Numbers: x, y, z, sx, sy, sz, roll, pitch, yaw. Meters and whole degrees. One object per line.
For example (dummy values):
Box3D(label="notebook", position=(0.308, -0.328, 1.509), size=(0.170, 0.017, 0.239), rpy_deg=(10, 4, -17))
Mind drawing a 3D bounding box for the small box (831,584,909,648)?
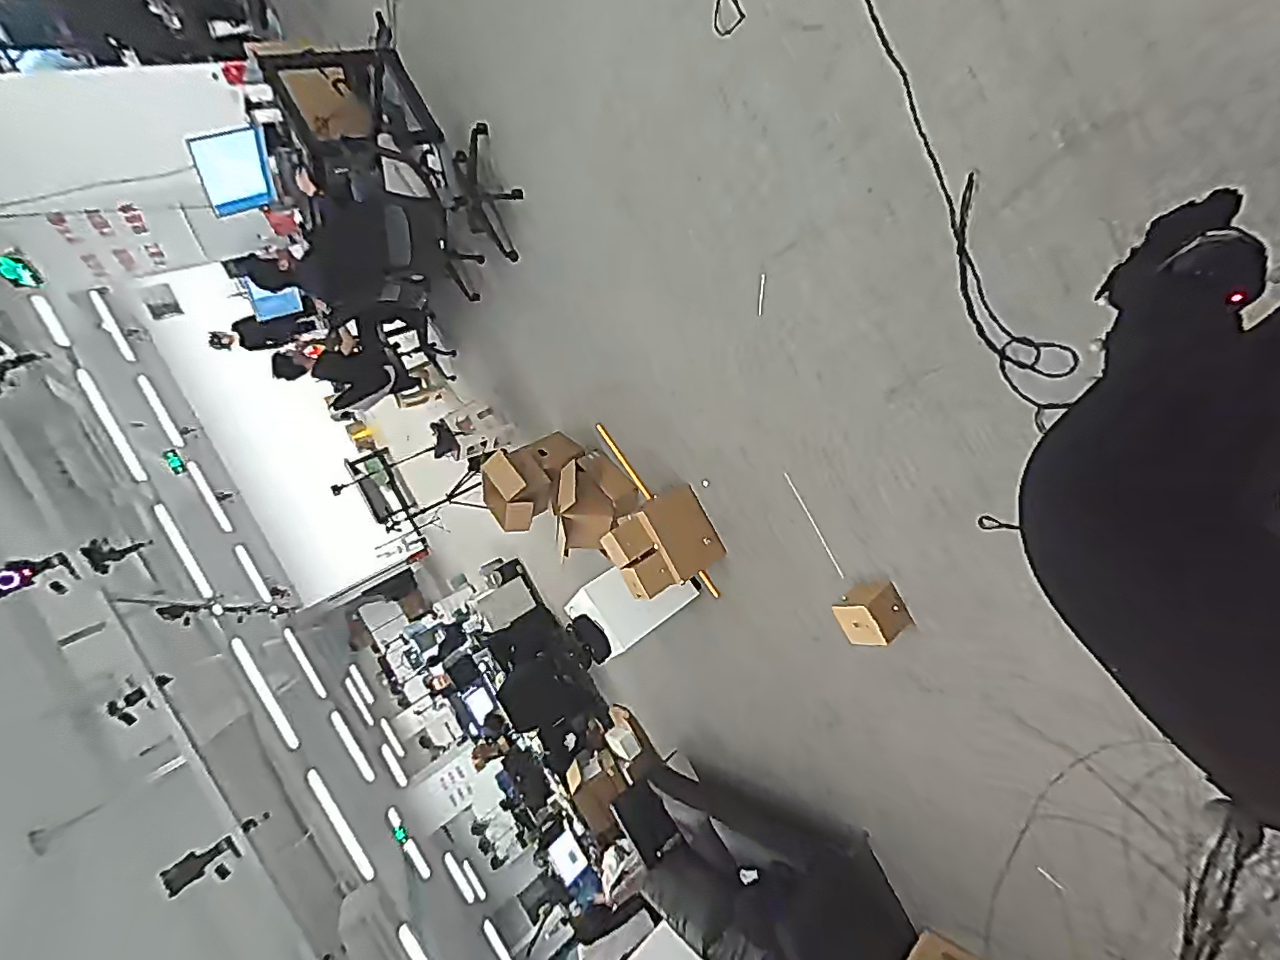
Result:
Box3D(label="small box", position=(0.858, 0.504, 2.013), size=(0.168, 0.176, 0.179), rpy_deg=(60, 151, -1))
